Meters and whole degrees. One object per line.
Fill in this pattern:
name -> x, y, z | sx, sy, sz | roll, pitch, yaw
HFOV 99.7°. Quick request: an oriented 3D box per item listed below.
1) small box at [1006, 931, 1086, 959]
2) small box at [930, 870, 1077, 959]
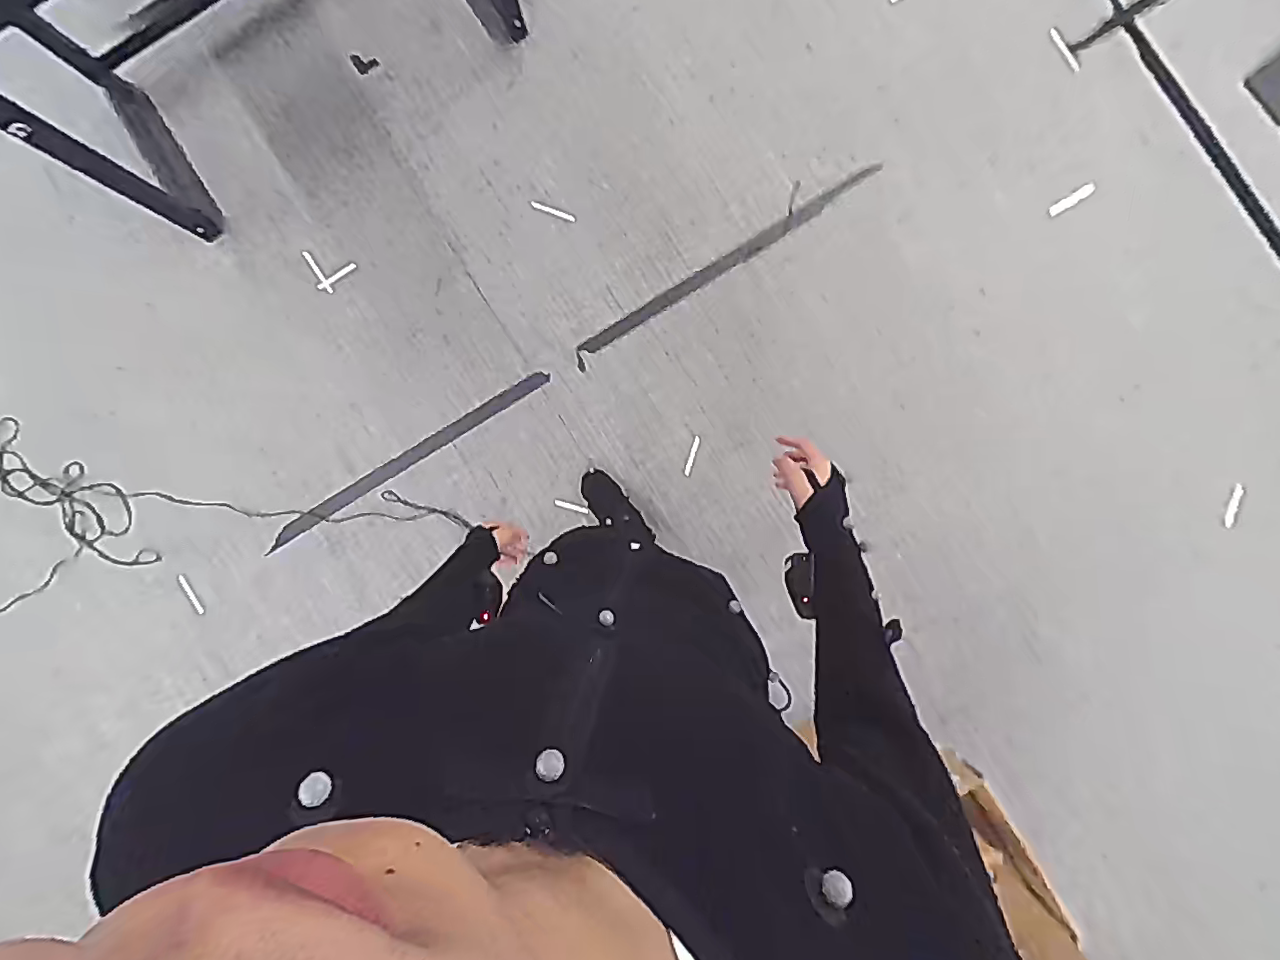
small box -> 0.656, 0.836, 0.794 | 0.168, 0.176, 0.179 | -37, 88, -1
small box -> 0.661, 0.844, 0.958 | 0.168, 0.176, 0.179 | -33, 90, 0
